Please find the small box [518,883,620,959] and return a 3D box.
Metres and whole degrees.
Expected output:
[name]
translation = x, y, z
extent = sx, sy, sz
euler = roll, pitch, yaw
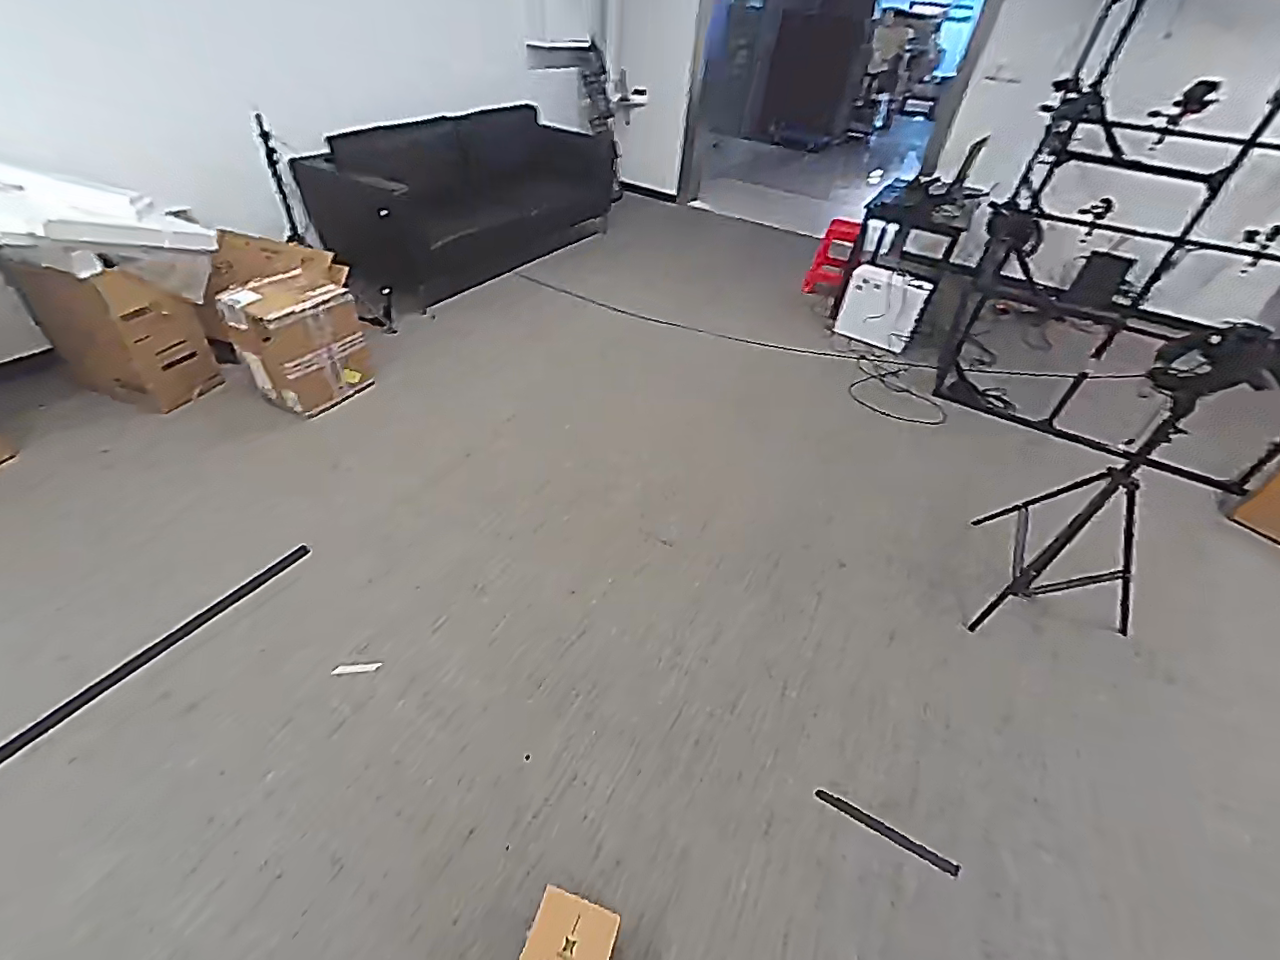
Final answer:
[small box]
translation = -0.148, 0.974, 1.101
extent = 0.168, 0.176, 0.179
euler = 16, 41, 11
